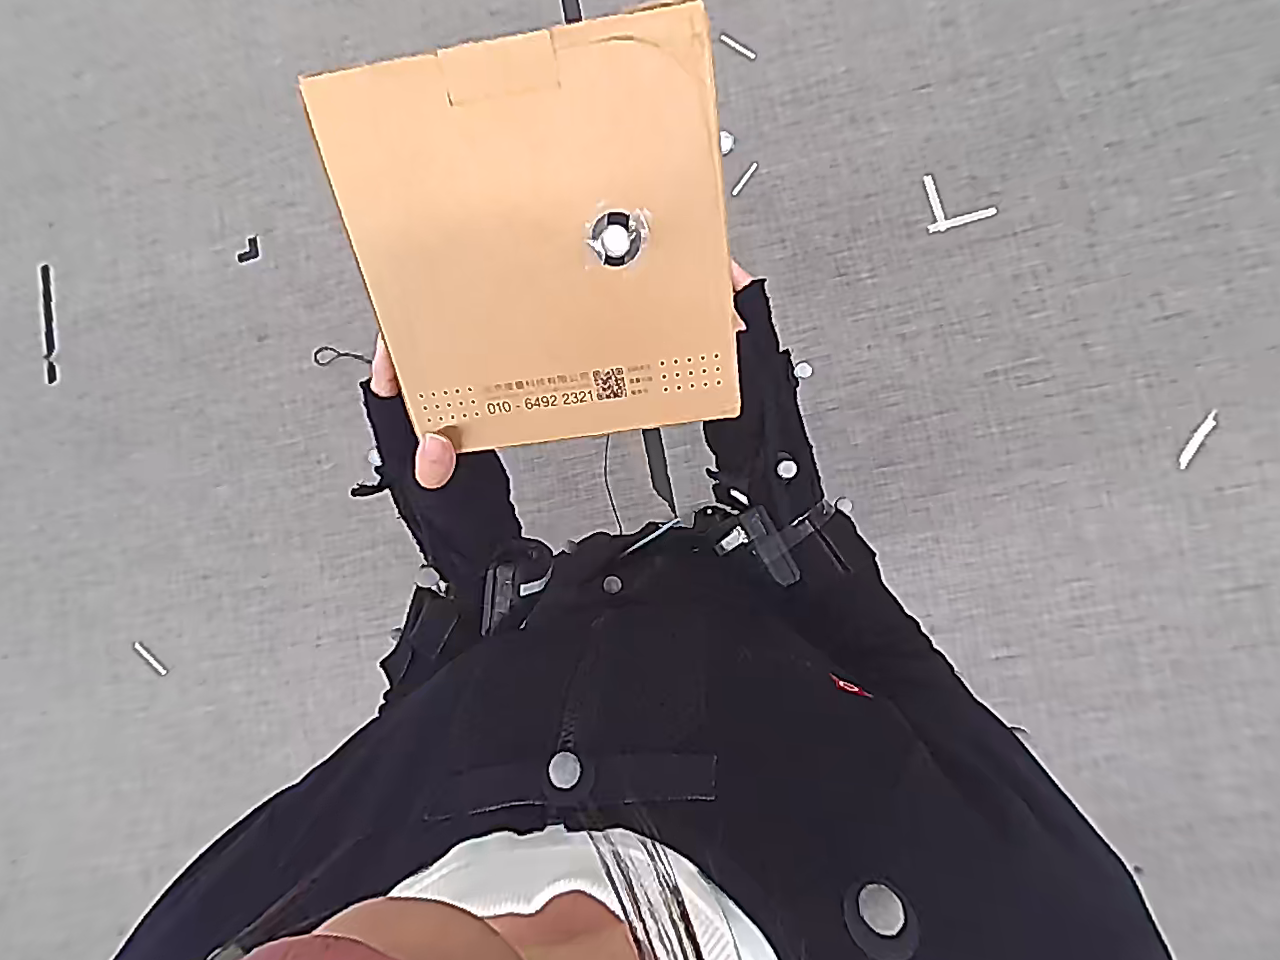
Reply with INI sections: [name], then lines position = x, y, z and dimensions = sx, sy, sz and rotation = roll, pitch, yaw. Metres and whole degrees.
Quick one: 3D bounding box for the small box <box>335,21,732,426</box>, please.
[small box]
position = -0.037, -0.137, 0.334
dimensions = 0.168, 0.179, 0.176
rotation = -6, 115, 6
